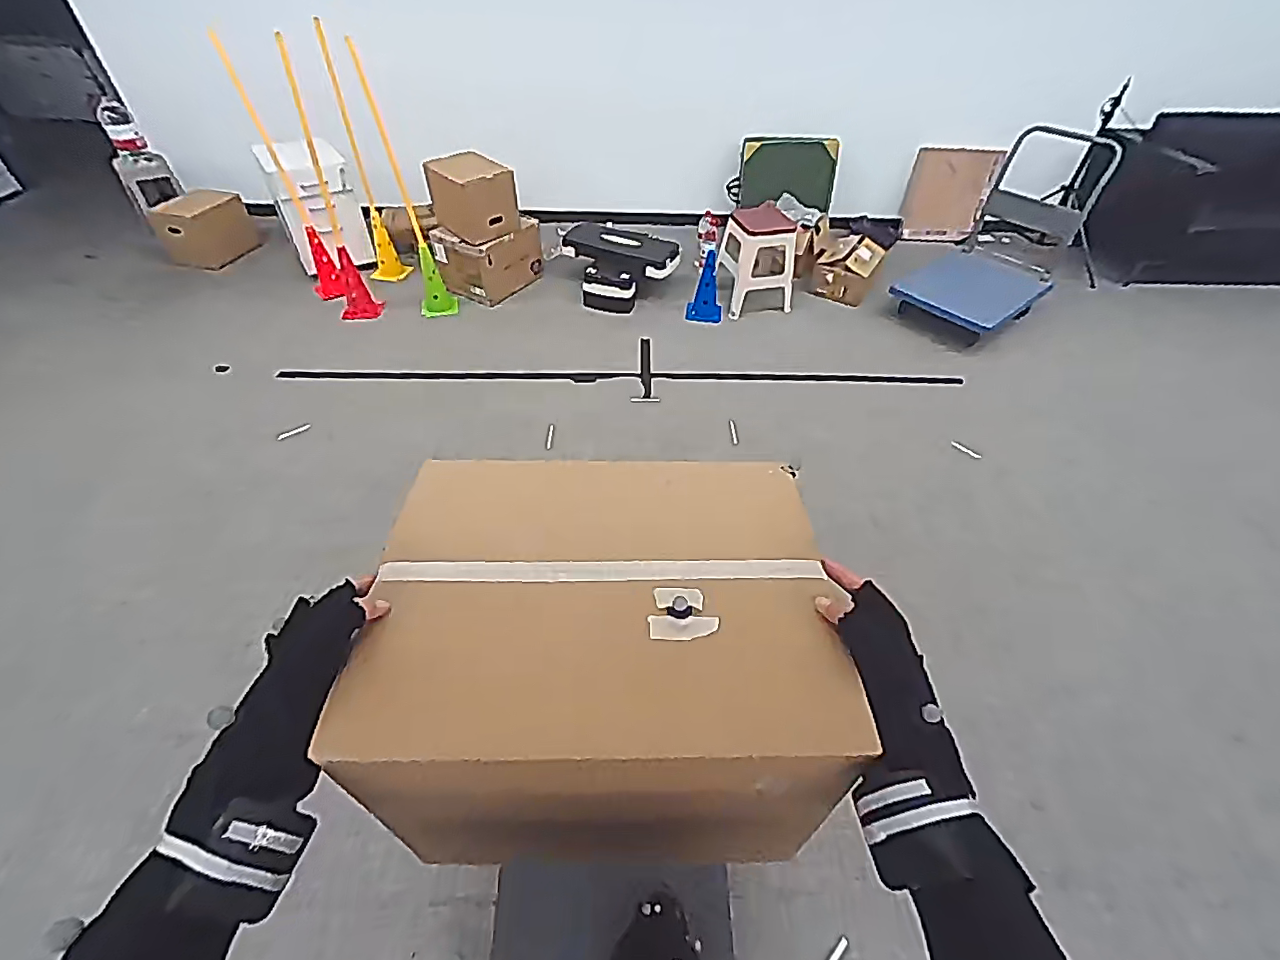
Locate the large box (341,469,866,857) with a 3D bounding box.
[{"bbox_3d":[-0.032,0.201,0.611,0.408,0.320,0.320,1,43,-1],"label":"large box"}]
